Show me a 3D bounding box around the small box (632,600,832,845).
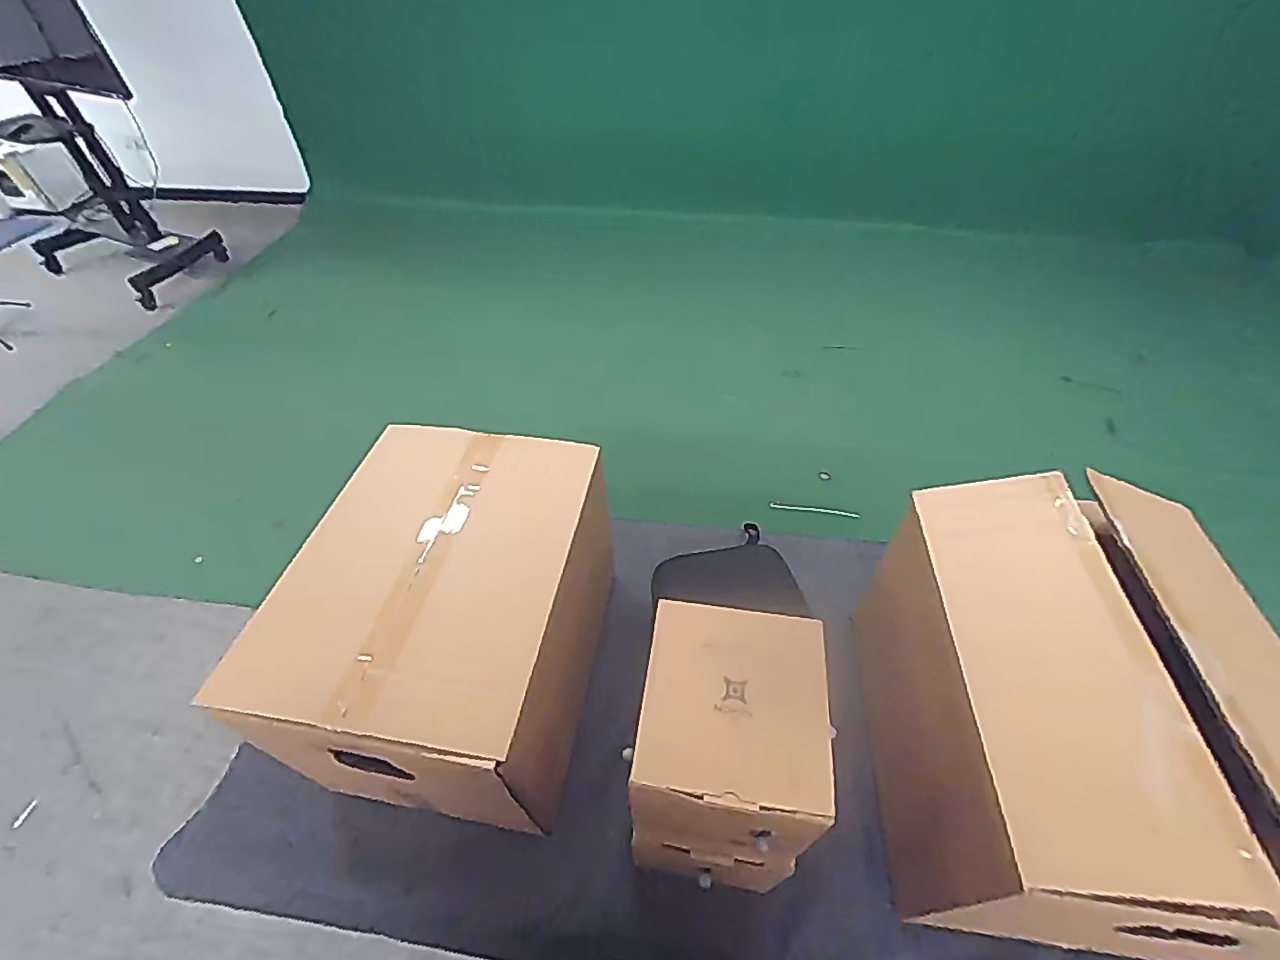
[{"bbox_3d":[0.087,0.250,0.553,0.168,0.176,0.179,6,47,5],"label":"small box"}]
